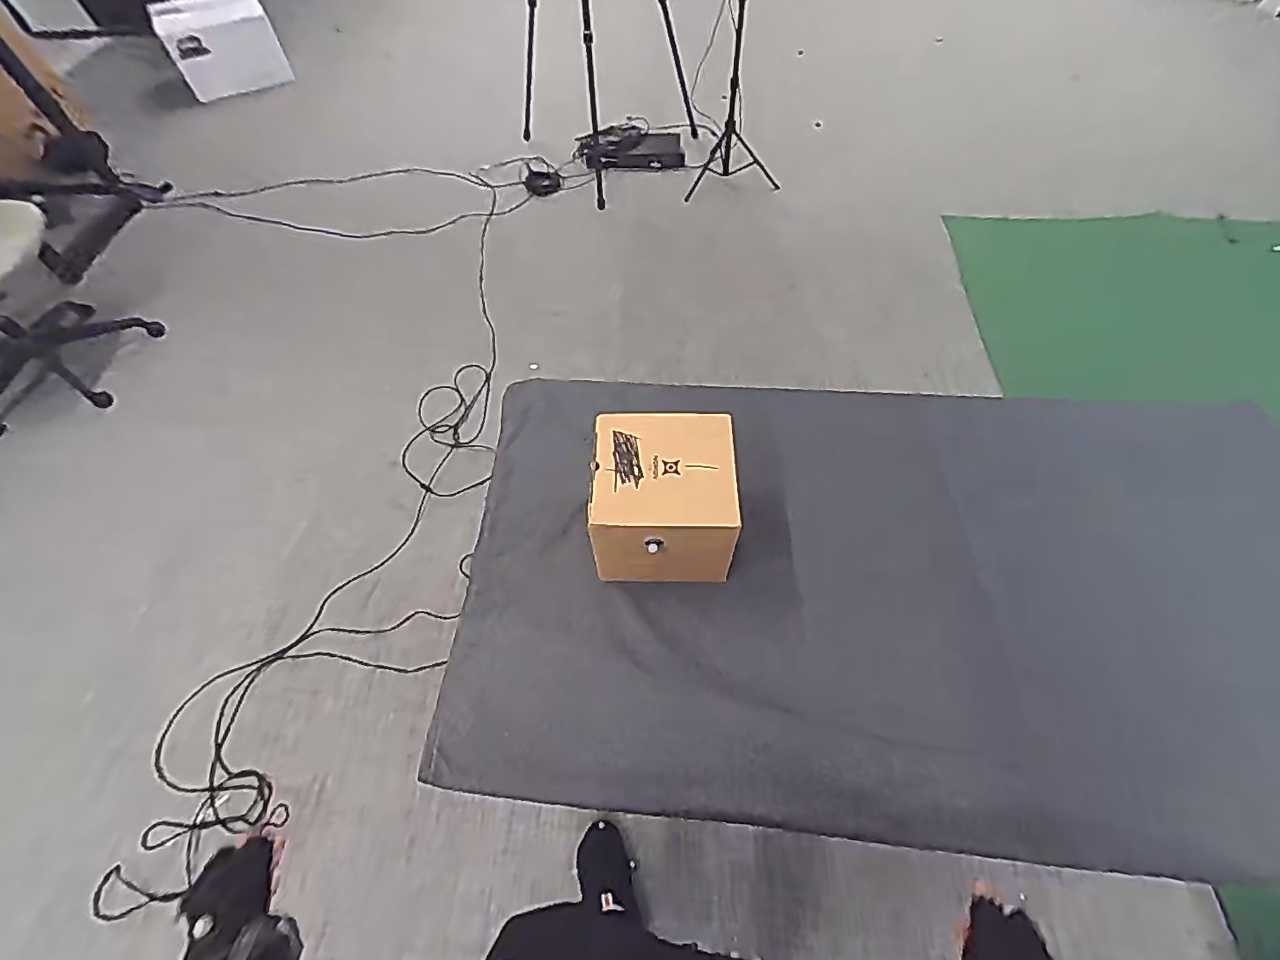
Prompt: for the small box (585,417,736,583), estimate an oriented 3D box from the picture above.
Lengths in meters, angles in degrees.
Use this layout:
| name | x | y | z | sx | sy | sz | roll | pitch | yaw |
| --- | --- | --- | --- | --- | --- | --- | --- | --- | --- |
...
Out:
| name | x | y | z | sx | sy | sz | roll | pitch | yaw |
| --- | --- | --- | --- | --- | --- | --- | --- | --- | --- |
| small box | 0.028 | 0.032 | 0.724 | 0.179 | 0.176 | 0.168 | 1 | 58 | 2 |
